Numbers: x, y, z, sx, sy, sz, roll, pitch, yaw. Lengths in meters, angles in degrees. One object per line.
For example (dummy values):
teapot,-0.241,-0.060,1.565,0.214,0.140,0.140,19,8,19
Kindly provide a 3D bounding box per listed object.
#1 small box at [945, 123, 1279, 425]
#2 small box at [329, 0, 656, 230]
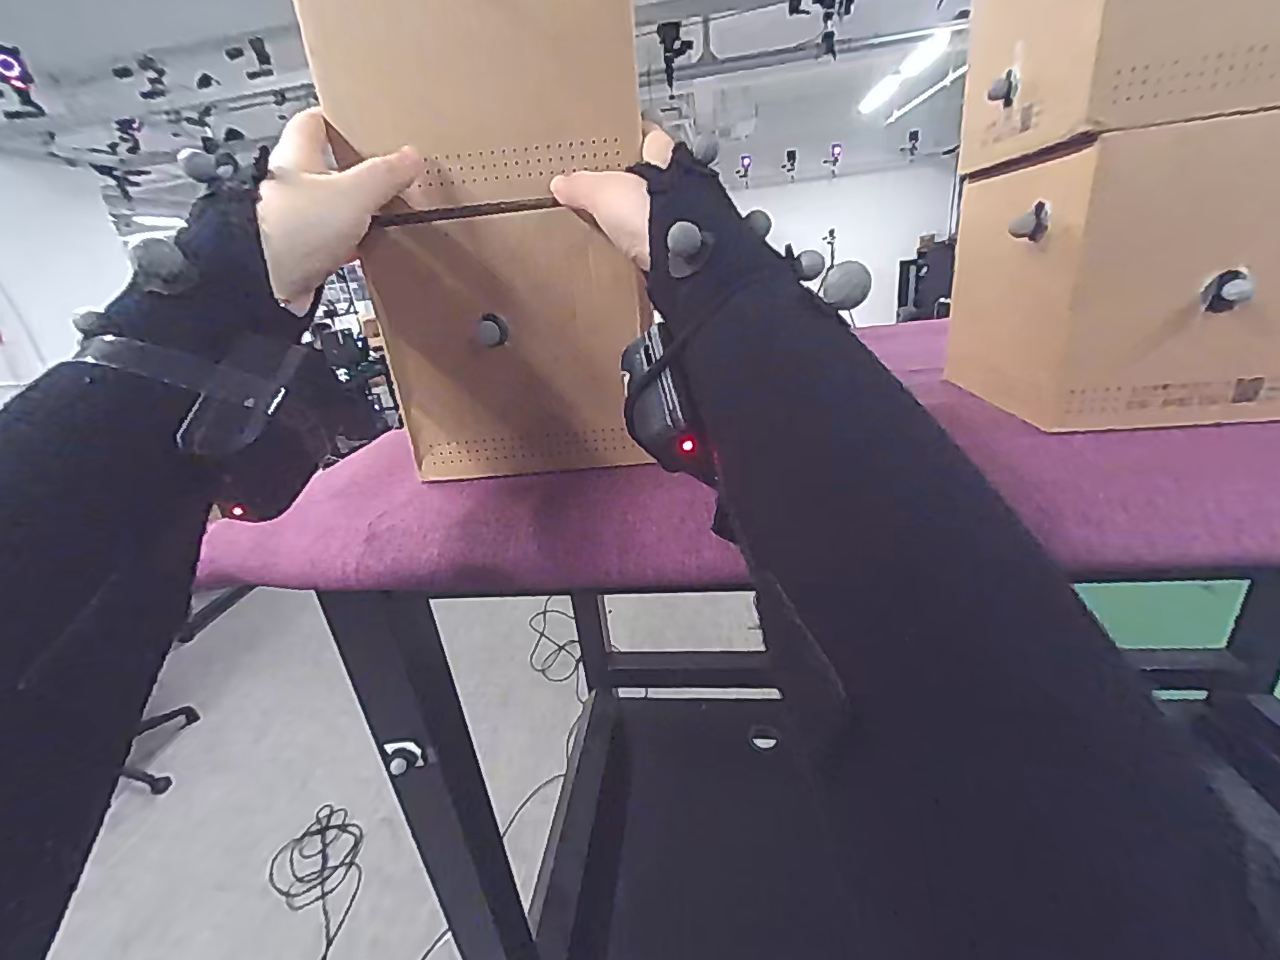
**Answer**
small box,0.343,-0.140,0.387,0.168,0.176,0.179,-2,22,9
small box,-0.085,-0.265,0.363,0.179,0.176,0.168,-4,23,0
